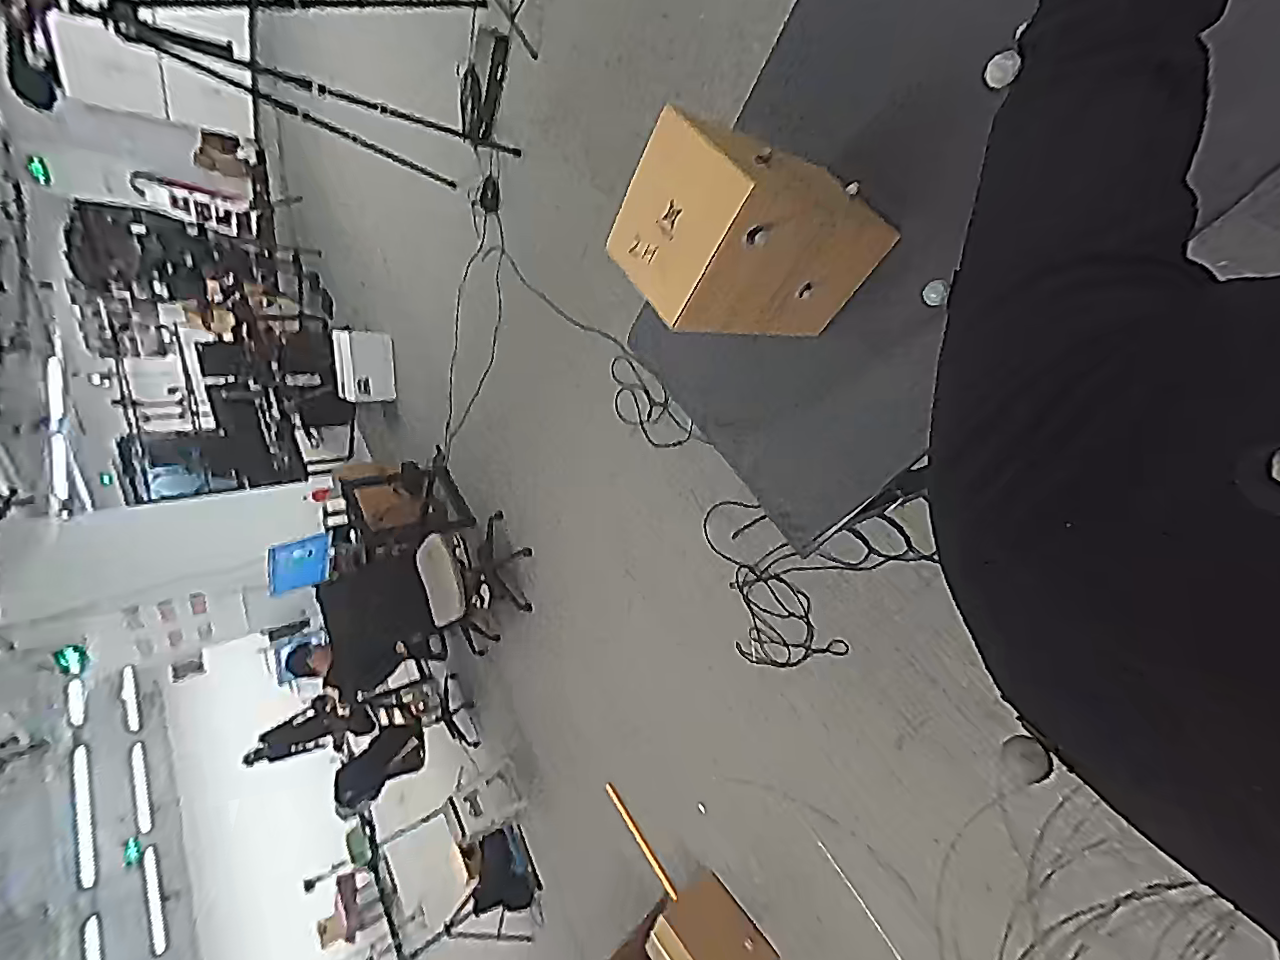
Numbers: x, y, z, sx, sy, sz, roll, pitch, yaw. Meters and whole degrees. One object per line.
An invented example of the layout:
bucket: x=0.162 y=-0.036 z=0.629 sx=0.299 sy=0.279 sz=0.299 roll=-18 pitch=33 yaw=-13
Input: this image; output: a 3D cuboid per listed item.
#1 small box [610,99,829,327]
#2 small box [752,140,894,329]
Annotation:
small box: x=0.099 y=-0.306 z=0.654 sx=0.168 sy=0.176 sz=0.179 roll=56 pitch=135 yaw=25
small box: x=0.217 y=-0.332 z=0.767 sx=0.168 sy=0.176 sz=0.179 roll=57 pitch=135 yaw=23
